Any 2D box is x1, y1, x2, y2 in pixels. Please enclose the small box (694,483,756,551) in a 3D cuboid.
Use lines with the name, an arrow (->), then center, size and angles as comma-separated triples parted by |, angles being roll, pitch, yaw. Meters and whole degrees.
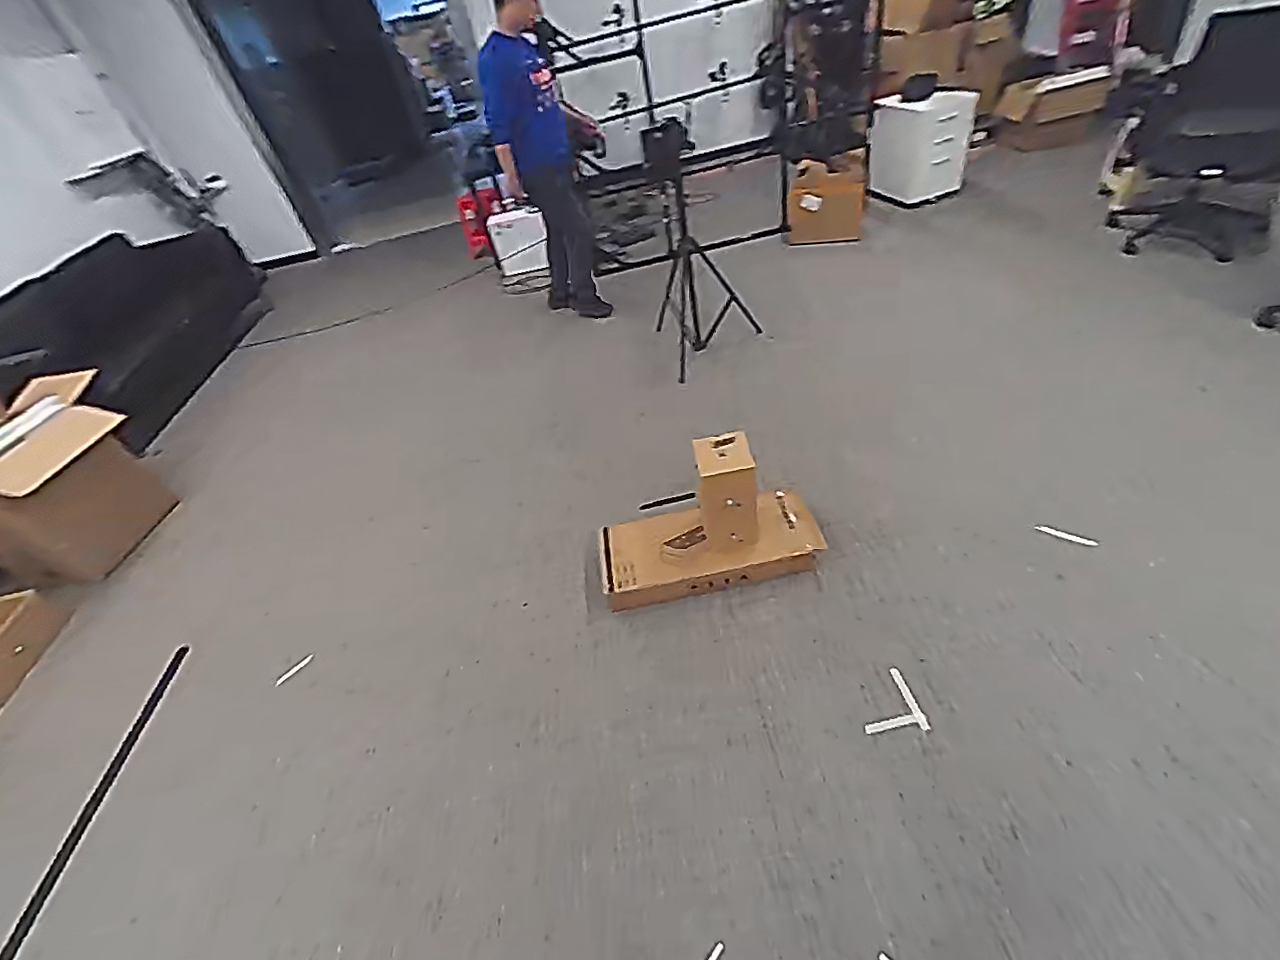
small box -> 0.284, 0.109, 1.805 | 0.168, 0.176, 0.179 | -14, 41, 2

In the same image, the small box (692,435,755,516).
small box -> 0.262, -0.014, 1.698 | 0.168, 0.176, 0.179 | -11, 42, 4
